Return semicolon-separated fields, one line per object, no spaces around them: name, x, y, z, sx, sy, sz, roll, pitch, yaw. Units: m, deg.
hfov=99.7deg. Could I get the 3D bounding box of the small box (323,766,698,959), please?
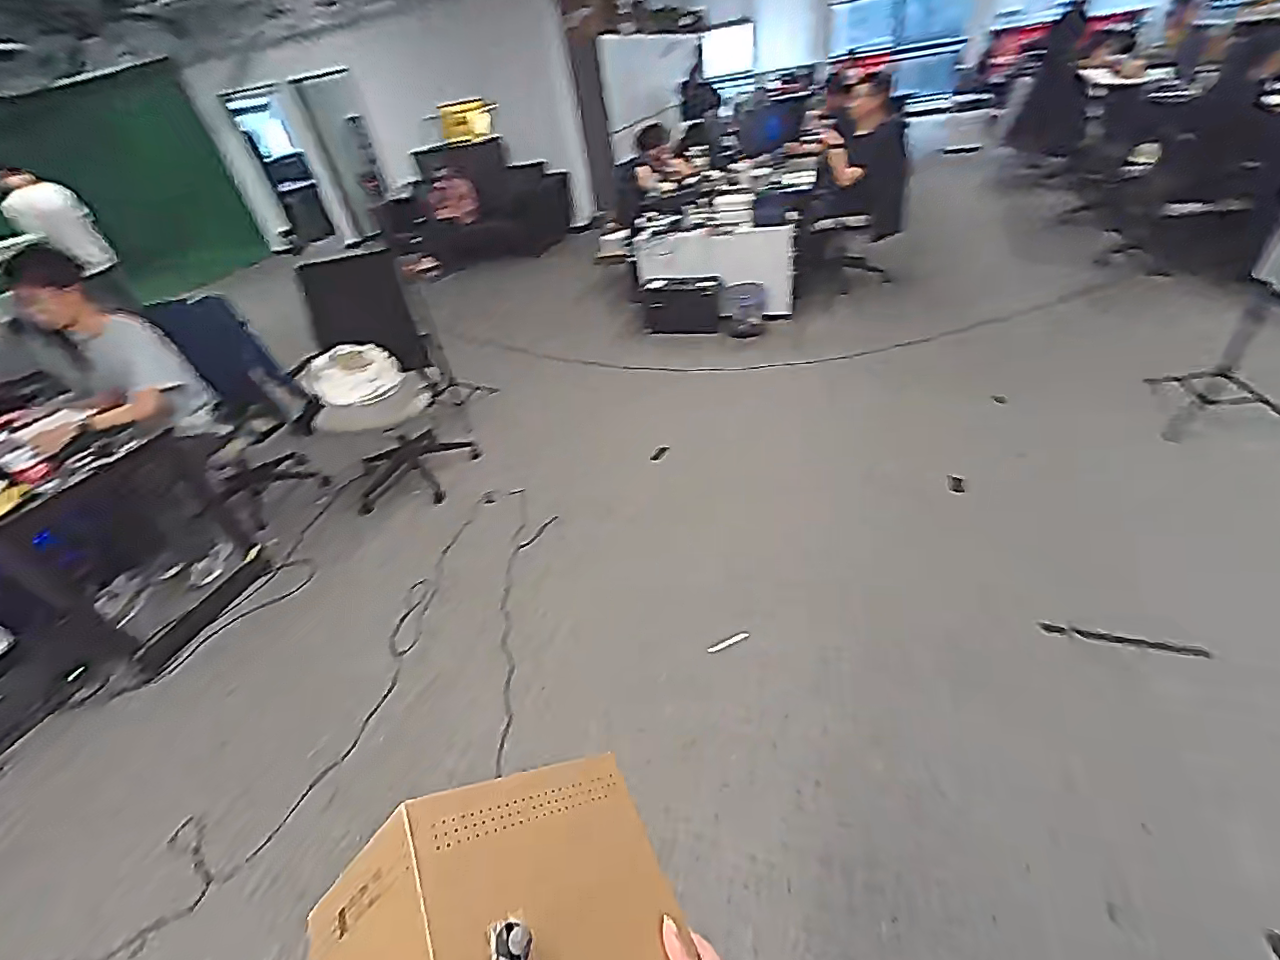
small box;-0.090;0.323;0.362;0.179;0.168;0.176;15;34;-45
